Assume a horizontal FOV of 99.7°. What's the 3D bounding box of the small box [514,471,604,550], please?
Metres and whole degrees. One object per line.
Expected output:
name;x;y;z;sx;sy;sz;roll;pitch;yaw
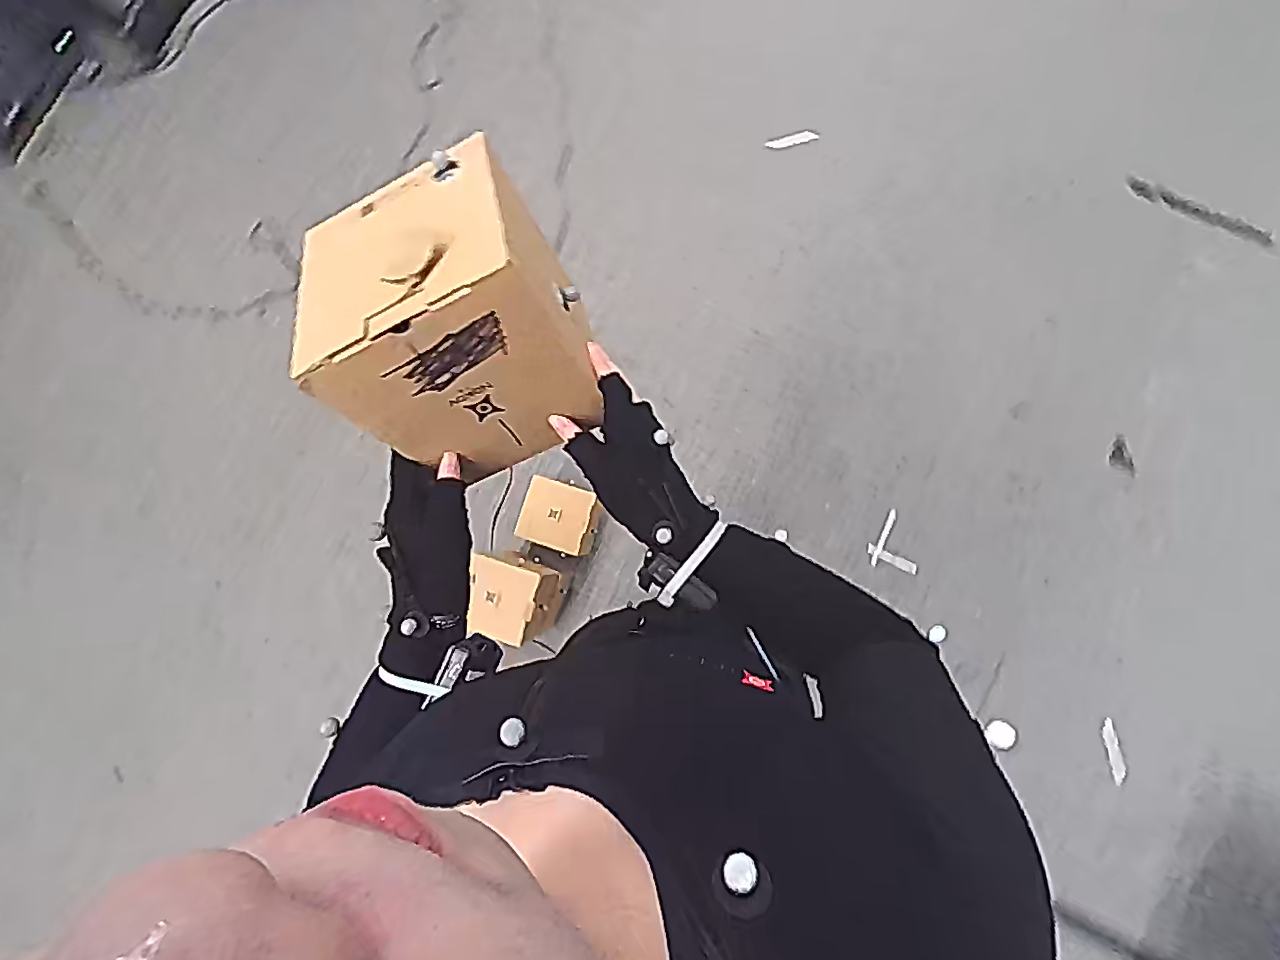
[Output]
small box;-0.209;0.086;1.449;0.179;0.176;0.168;17;85;5

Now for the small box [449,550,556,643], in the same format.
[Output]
small box;-0.313;0.263;1.272;0.179;0.176;0.168;17;85;5

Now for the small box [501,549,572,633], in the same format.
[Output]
small box;-0.296;0.285;1.434;0.179;0.176;0.168;20;85;7

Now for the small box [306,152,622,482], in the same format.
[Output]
small box;-0.136;-0.131;0.446;0.168;0.179;0.176;-22;59;10
